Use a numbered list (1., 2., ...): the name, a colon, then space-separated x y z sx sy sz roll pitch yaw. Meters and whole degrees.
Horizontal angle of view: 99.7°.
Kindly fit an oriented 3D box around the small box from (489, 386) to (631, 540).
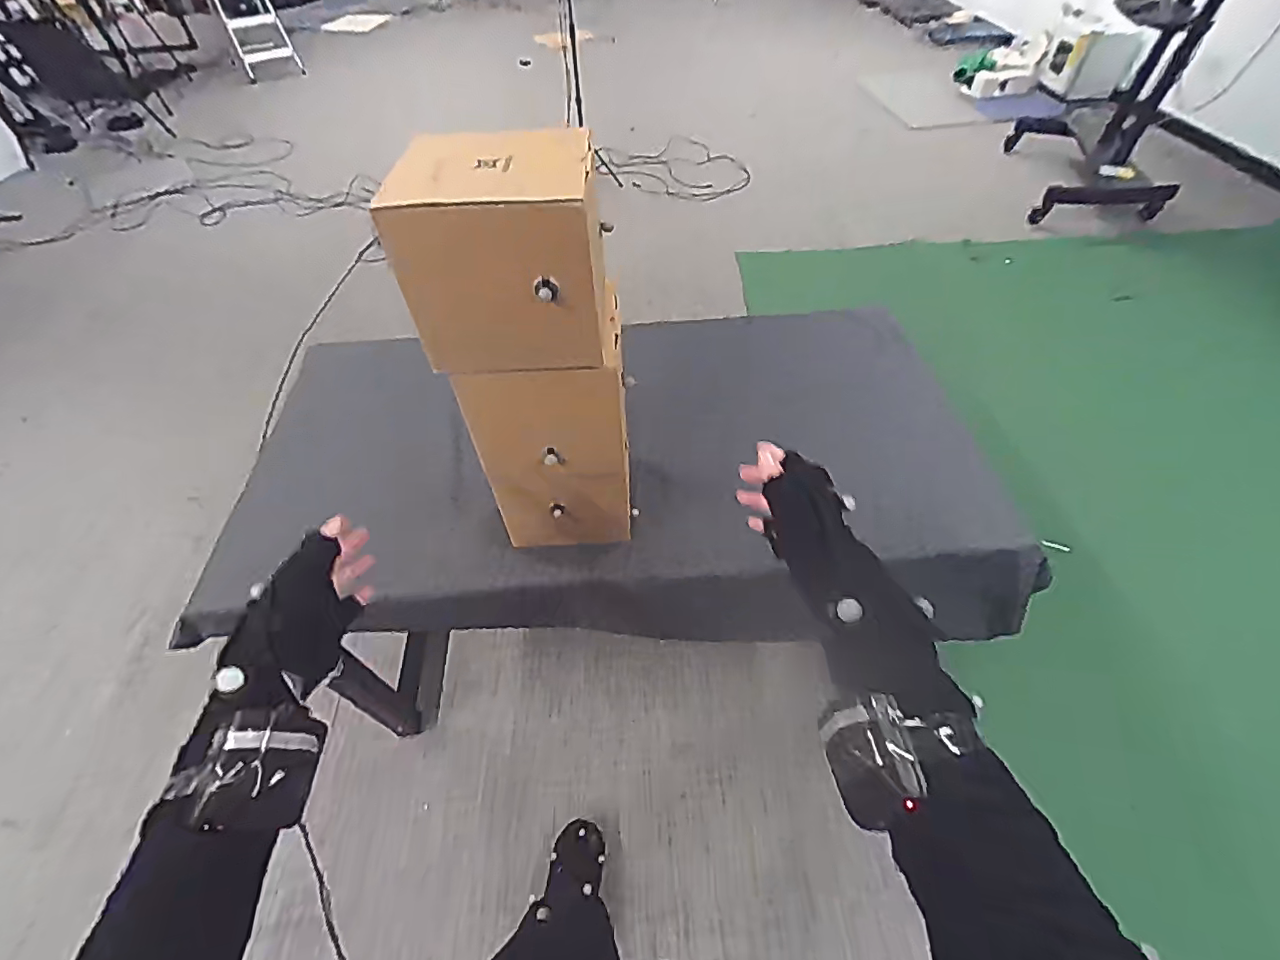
1. small box: -0.103 -0.023 0.796 0.179 0.176 0.168 0 49 2

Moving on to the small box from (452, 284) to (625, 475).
1. small box: -0.108 -0.120 0.669 0.179 0.176 0.168 -2 51 0

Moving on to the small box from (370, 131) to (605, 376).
1. small box: -0.128 -0.222 0.542 0.179 0.176 0.168 -4 50 2
